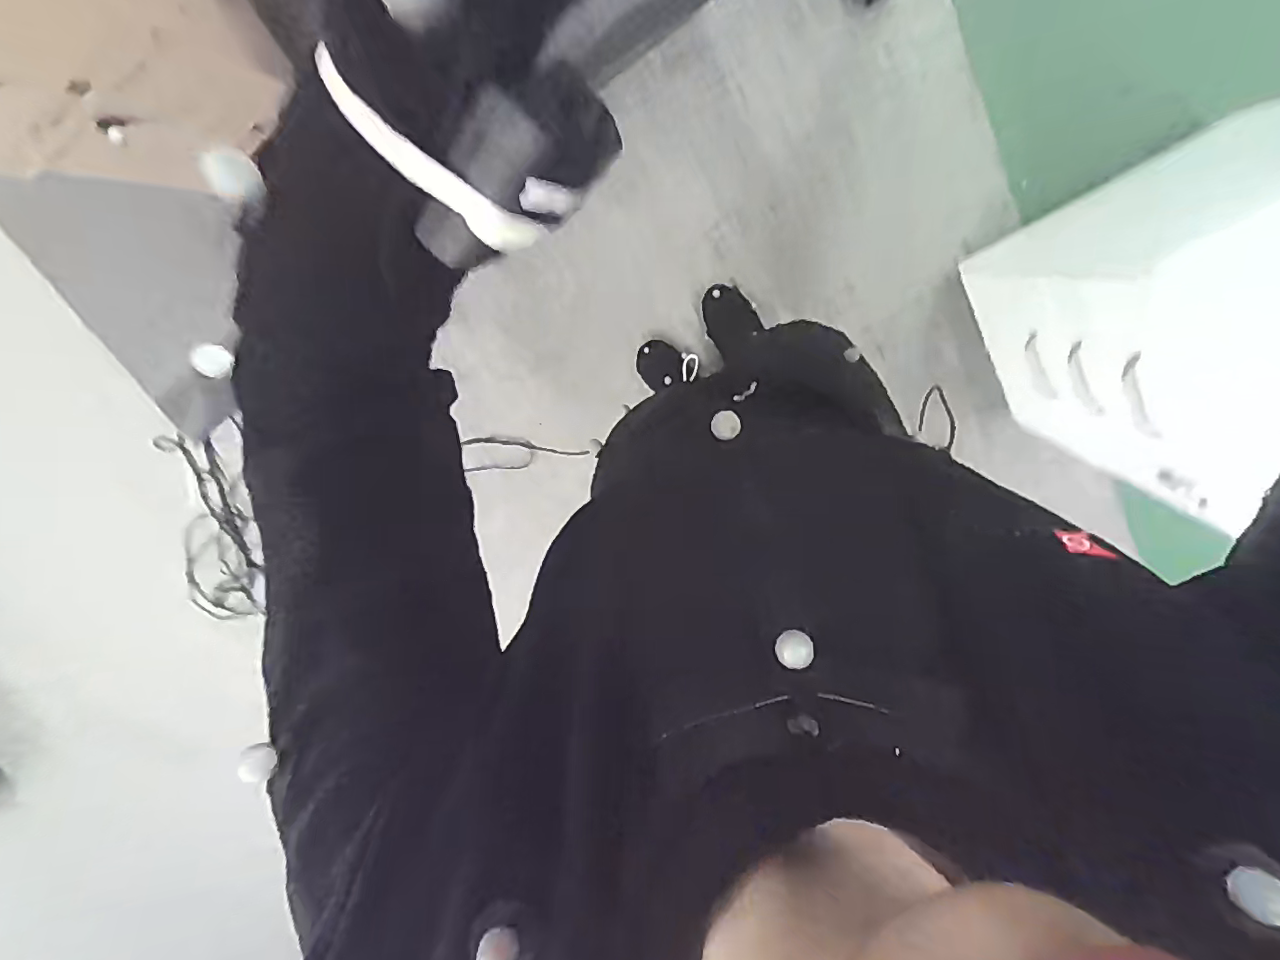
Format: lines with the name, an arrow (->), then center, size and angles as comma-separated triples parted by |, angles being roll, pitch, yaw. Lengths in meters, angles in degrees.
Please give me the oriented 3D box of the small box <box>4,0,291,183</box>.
small box -> -0.452, -0.382, 0.449 | 0.168, 0.176, 0.179 | -29, 106, 16
